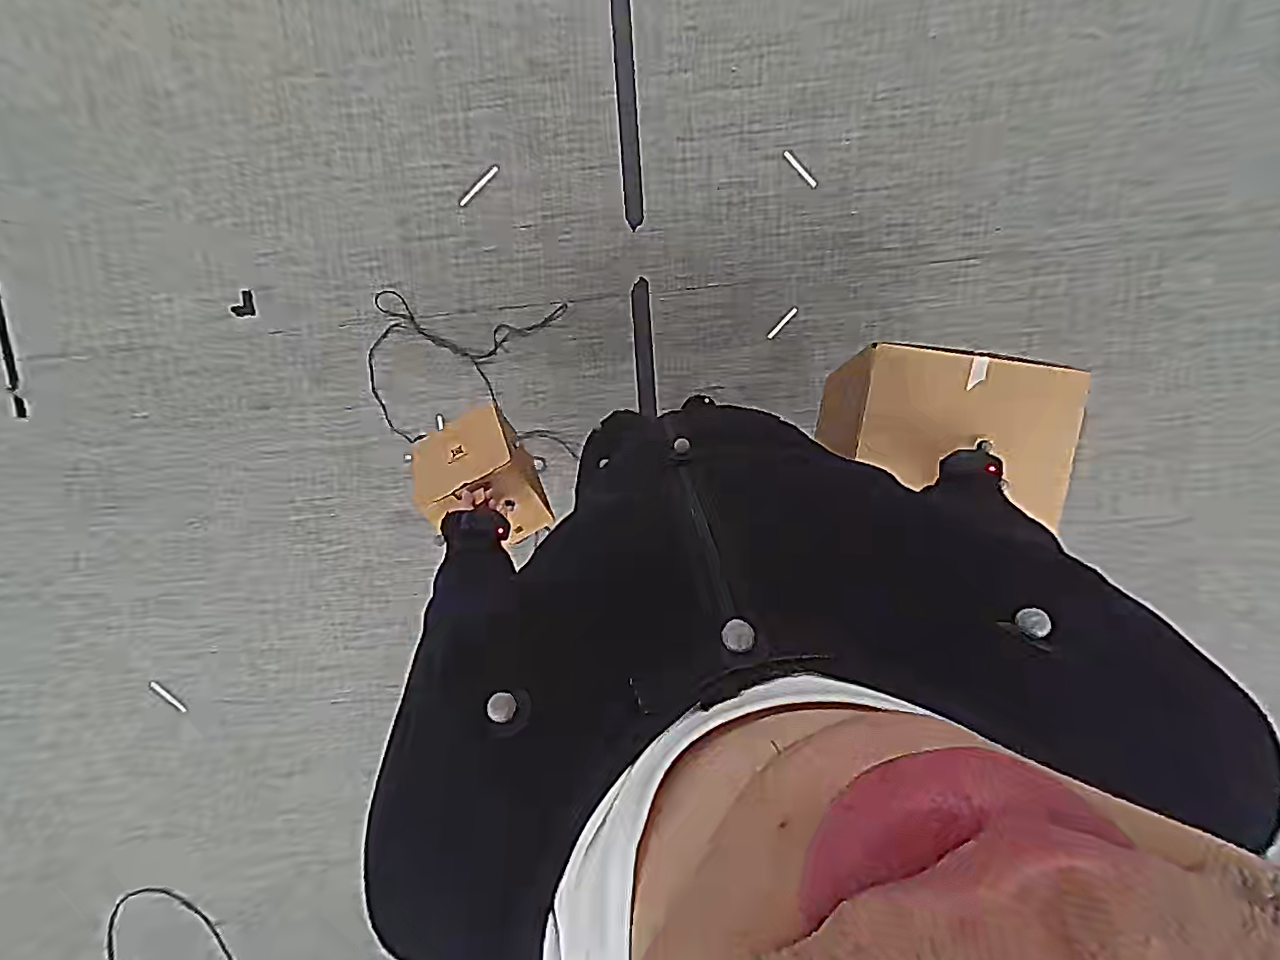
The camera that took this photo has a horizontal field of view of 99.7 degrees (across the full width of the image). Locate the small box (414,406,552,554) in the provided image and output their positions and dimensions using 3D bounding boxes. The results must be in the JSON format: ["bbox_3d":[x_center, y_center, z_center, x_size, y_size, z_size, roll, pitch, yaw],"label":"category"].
[{"bbox_3d":[-0.276,0.008,0.962,0.168,0.179,0.176,-28,136,-3],"label":"small box"}]
